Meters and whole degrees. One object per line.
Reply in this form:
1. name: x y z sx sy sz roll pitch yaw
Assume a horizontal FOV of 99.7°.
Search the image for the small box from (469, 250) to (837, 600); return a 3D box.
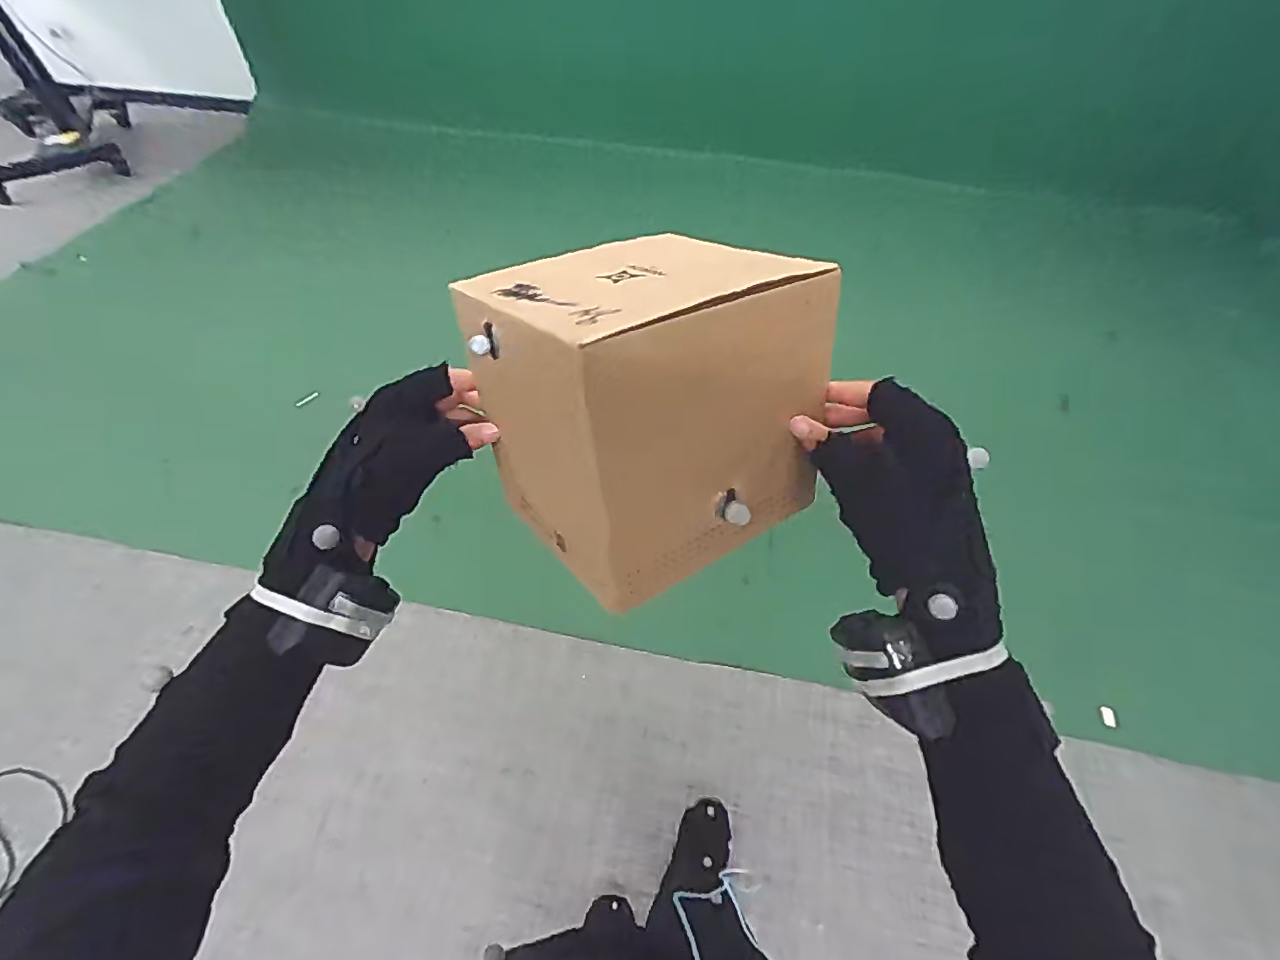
1. small box: 0.006 -0.052 0.379 0.179 0.176 0.168 -24 36 -28
